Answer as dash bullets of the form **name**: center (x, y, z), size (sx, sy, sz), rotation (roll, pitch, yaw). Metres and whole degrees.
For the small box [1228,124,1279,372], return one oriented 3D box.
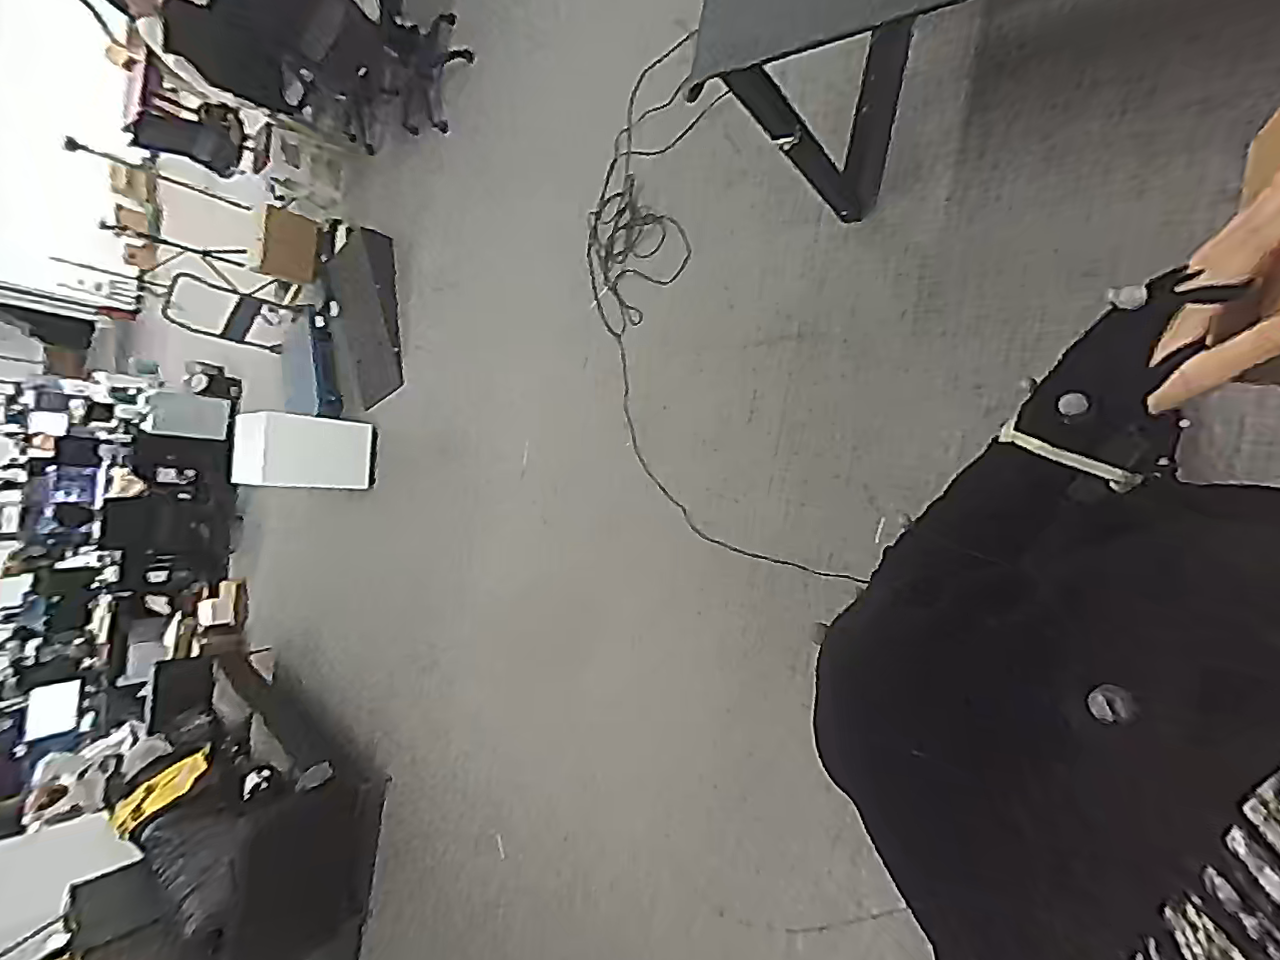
- **small box**: center (0.449, -0.156, 0.265), size (0.168, 0.176, 0.179), rotation (11, 90, 29)
